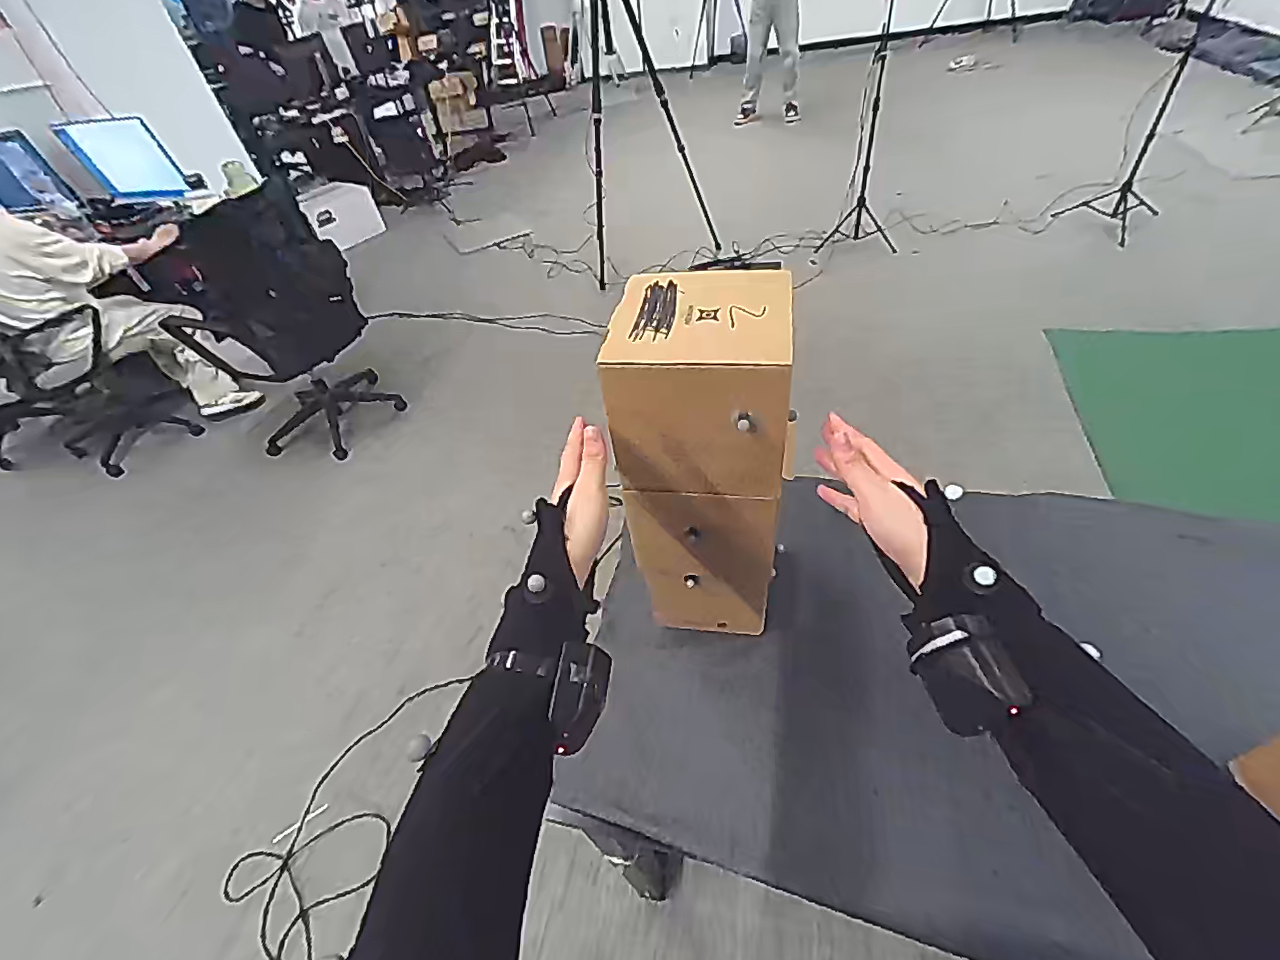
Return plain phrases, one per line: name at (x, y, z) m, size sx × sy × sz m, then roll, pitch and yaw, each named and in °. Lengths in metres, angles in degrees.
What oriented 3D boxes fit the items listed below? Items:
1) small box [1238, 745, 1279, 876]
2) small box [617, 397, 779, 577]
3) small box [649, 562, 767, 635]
small box at (0.720, 0.337, 0.487) m, size 0.168 × 0.176 × 0.179 m, roll 4°, pitch 47°, yaw 16°
small box at (0.084, 0.011, 0.698) m, size 0.179 × 0.176 × 0.168 m, roll 2°, pitch 48°, yaw 13°
small box at (0.109, 0.112, 0.826) m, size 0.168 × 0.176 × 0.179 m, roll 2°, pitch 47°, yaw 12°
